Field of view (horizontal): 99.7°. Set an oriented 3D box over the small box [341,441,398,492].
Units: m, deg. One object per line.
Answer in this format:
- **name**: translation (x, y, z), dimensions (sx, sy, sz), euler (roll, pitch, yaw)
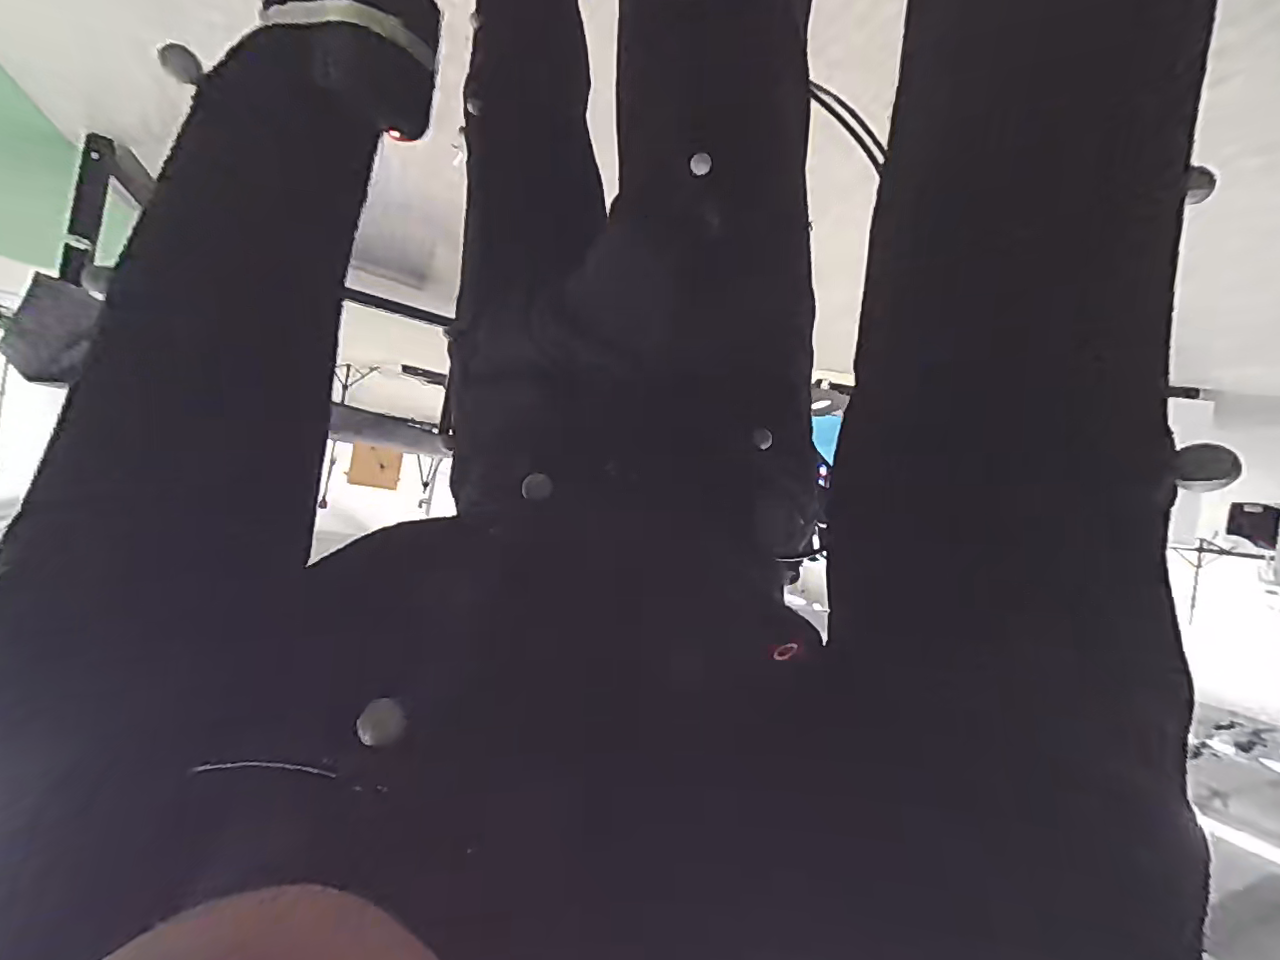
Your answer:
- **small box**: translation (-1.015, -0.053, 2.030), dimensions (0.168, 0.176, 0.179), euler (11, 179, -31)
